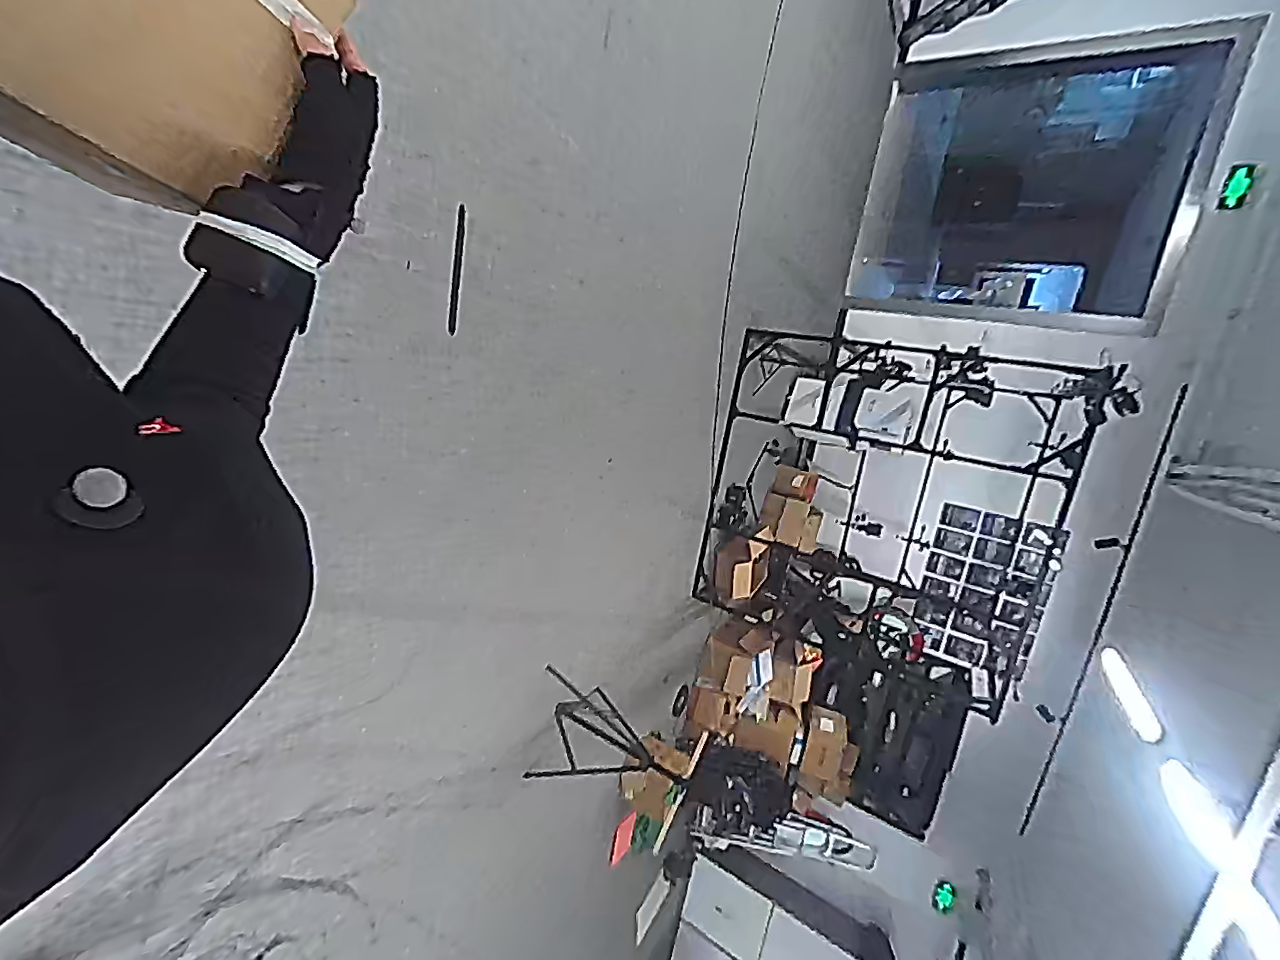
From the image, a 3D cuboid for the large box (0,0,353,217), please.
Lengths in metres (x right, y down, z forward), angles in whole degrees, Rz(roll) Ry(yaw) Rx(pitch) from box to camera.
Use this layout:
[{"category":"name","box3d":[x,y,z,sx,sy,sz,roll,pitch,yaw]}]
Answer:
[{"category":"large box","box3d":[-0.462,-0.438,0.337,0.408,0.320,0.320,26,89,-61]}]
